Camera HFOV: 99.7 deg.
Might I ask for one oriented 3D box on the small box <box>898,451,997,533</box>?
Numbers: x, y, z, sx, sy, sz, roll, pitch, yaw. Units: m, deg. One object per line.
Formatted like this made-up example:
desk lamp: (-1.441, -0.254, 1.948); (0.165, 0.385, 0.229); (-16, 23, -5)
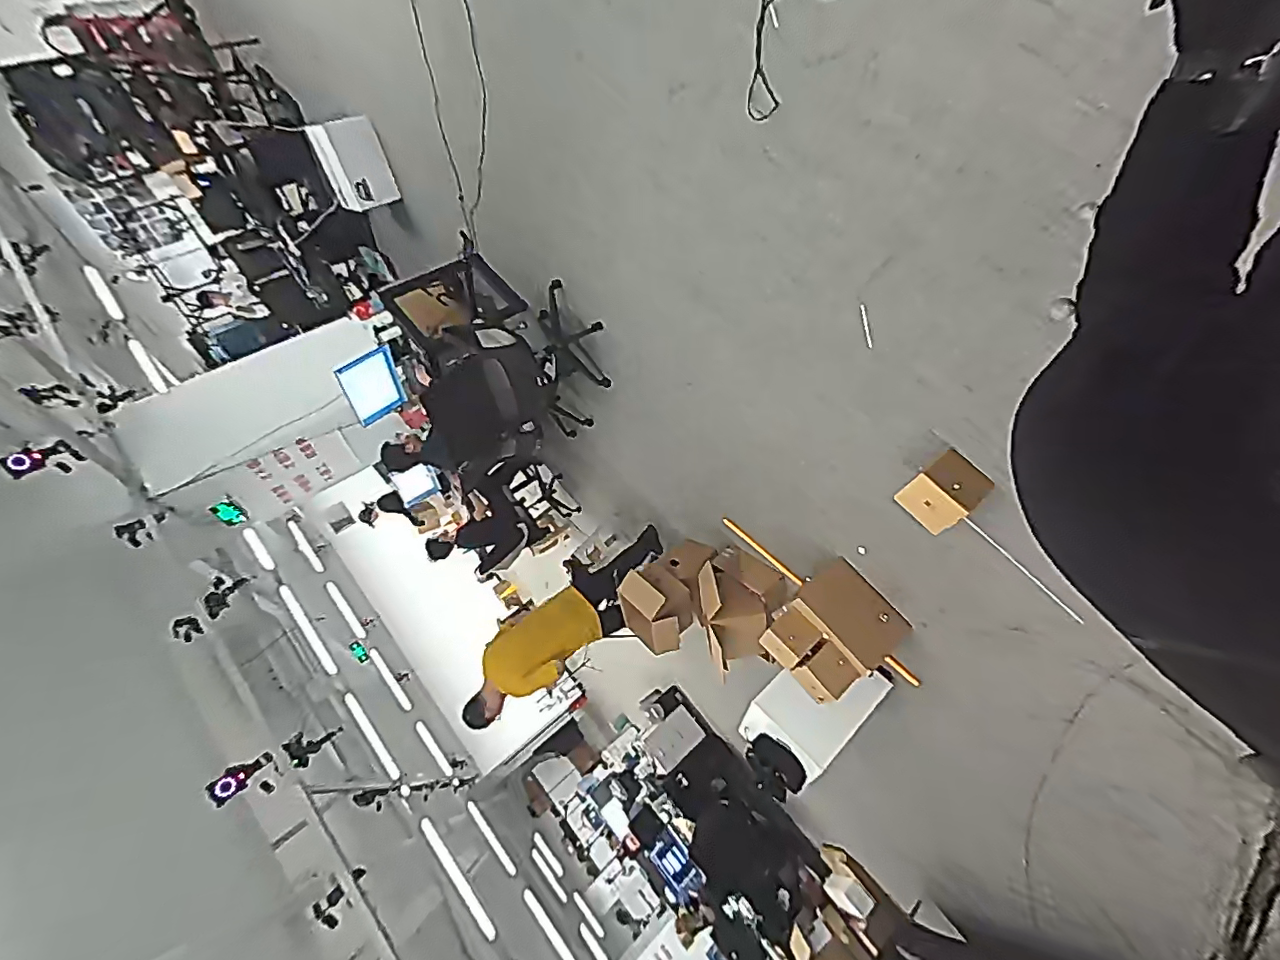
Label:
small box: (0.966, 0.030, 1.701); (0.179, 0.176, 0.168); (46, 154, 16)
